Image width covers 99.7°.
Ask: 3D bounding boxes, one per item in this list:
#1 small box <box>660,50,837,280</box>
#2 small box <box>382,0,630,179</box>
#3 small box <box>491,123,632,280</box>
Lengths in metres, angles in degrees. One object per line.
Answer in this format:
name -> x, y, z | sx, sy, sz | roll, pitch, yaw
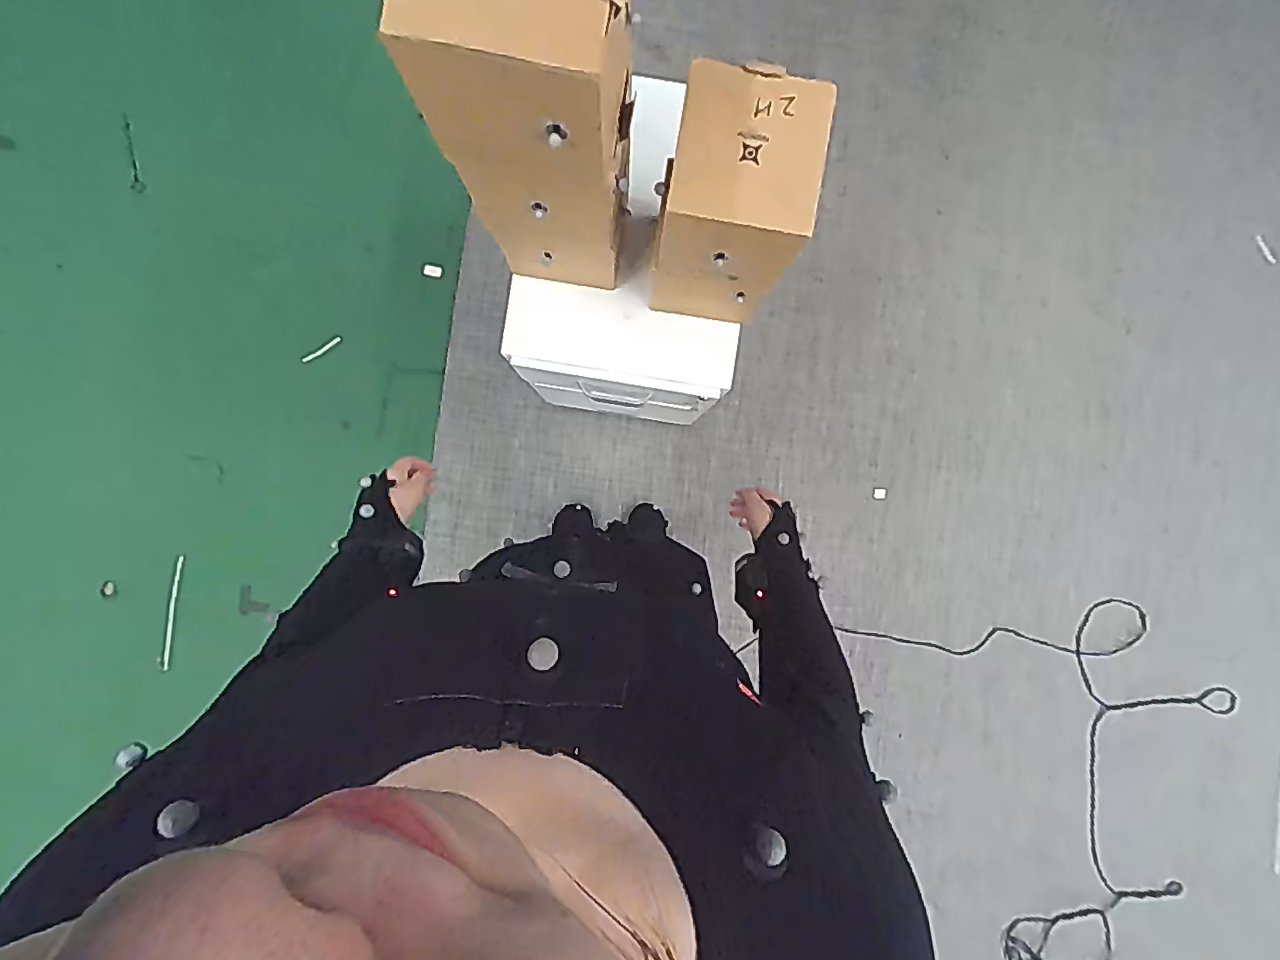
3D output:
small box -> 0.120, -0.370, 0.670 | 0.168, 0.176, 0.179 | 10, 90, -2
small box -> -0.104, -0.411, 0.500 | 0.179, 0.176, 0.168 | 9, 89, -2
small box -> -0.112, -0.424, 0.828 | 0.179, 0.176, 0.168 | 8, 91, -3
